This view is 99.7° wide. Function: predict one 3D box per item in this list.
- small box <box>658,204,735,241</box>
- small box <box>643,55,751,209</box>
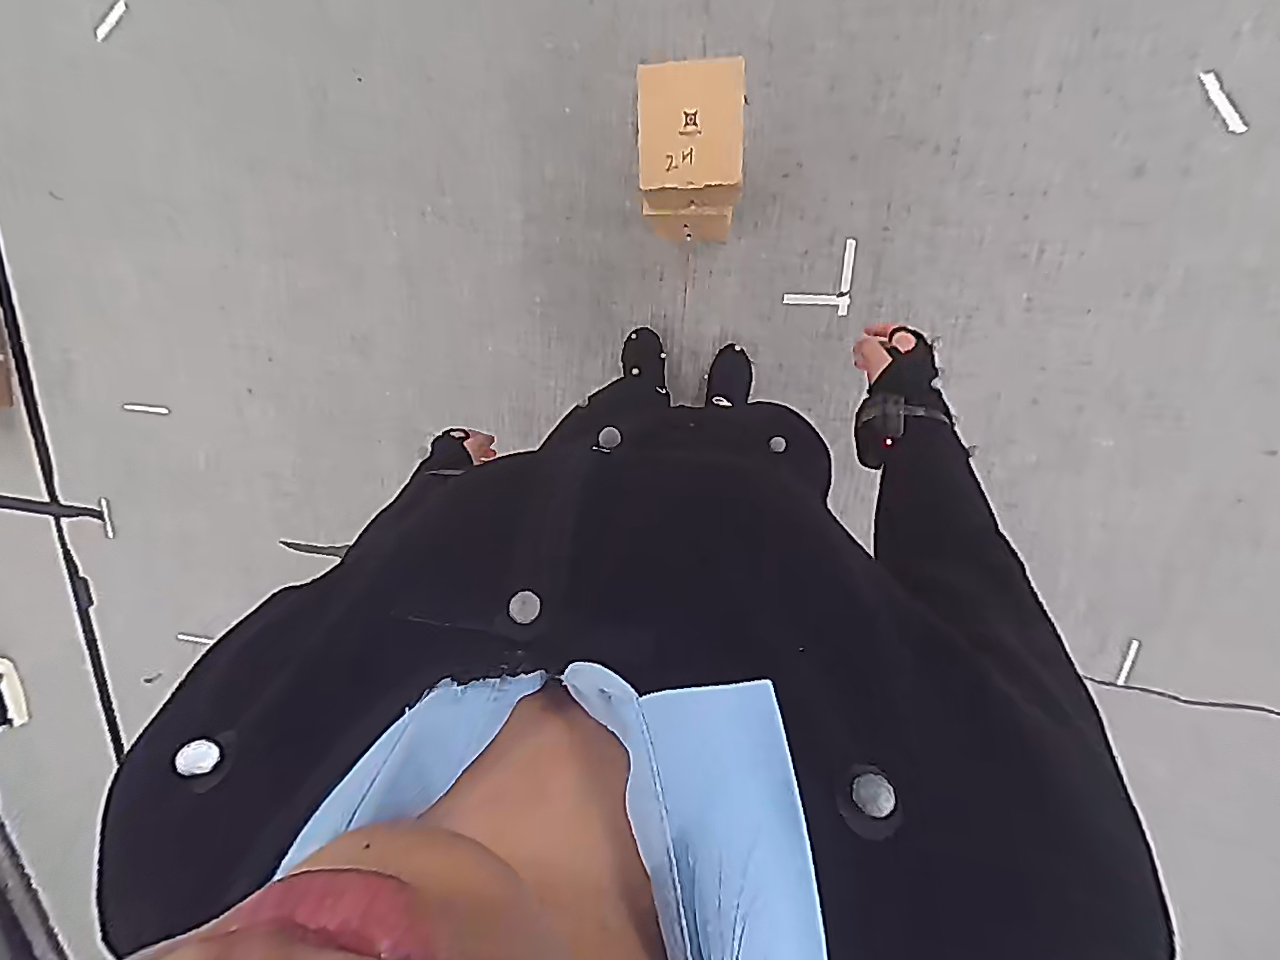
[{"bbox_3d":[0.134,-0.655,1.231,0.168,0.176,0.179,4,106,6],"label":"small box"},{"bbox_3d":[0.095,-0.574,0.914,0.168,0.176,0.179,1,106,8],"label":"small box"}]
